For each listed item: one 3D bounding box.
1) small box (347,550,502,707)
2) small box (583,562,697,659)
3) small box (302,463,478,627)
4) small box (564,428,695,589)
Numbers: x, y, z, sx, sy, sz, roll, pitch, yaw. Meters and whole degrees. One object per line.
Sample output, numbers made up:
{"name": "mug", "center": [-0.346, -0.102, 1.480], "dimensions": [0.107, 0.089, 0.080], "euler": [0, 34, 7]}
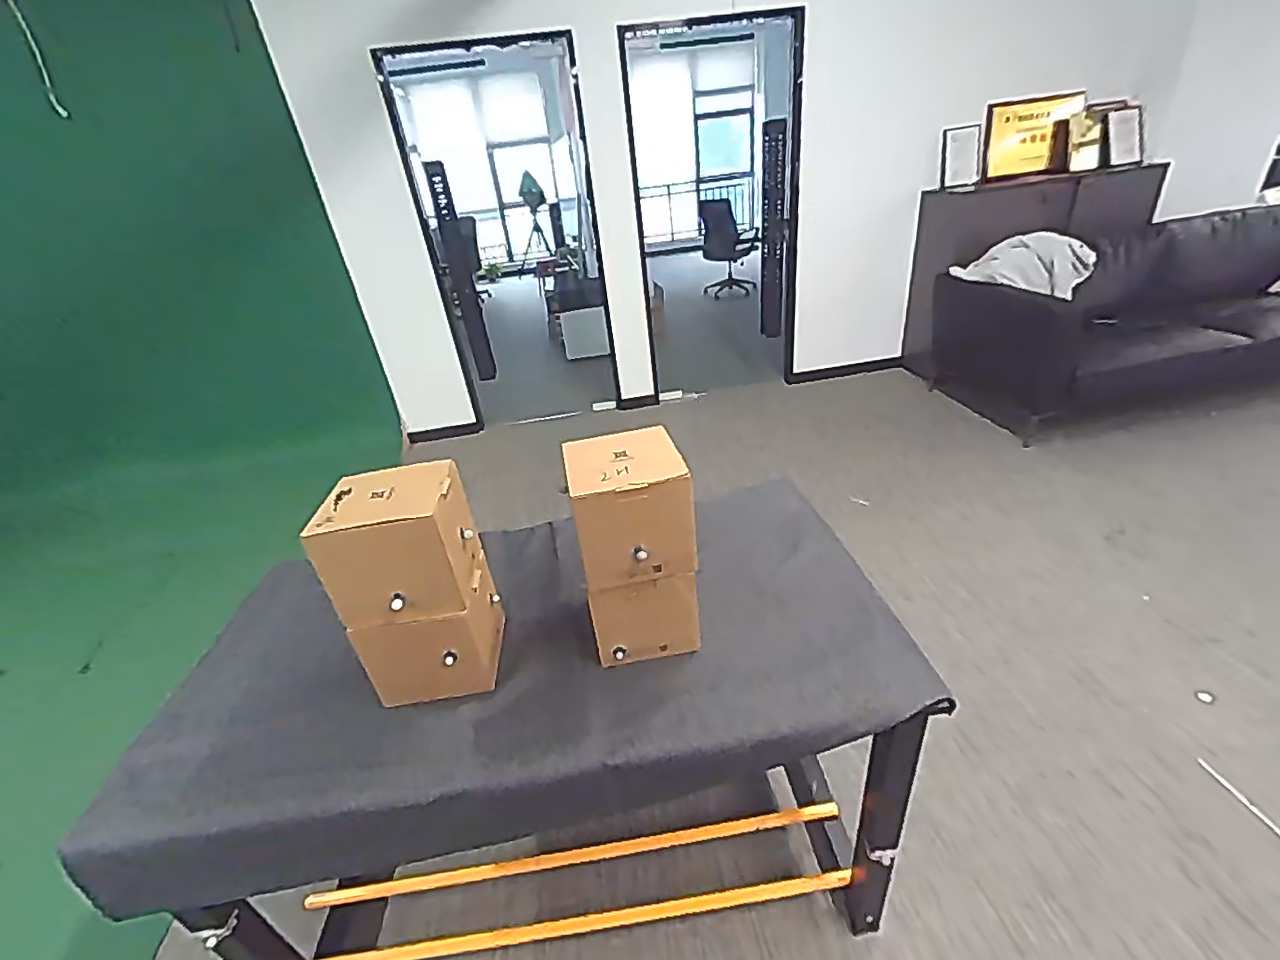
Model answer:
{"name": "small box", "center": [-0.334, 0.240, 0.883], "dimensions": [0.179, 0.176, 0.168], "euler": [-9, 28, -3]}
{"name": "small box", "center": [-0.003, 0.181, 0.913], "dimensions": [0.168, 0.176, 0.179], "euler": [-9, 28, -4]}
{"name": "small box", "center": [-0.354, 0.094, 0.810], "dimensions": [0.179, 0.176, 0.168], "euler": [-9, 28, -4]}
{"name": "small box", "center": [-0.019, 0.040, 0.831], "dimensions": [0.168, 0.176, 0.179], "euler": [-11, 30, -6]}
